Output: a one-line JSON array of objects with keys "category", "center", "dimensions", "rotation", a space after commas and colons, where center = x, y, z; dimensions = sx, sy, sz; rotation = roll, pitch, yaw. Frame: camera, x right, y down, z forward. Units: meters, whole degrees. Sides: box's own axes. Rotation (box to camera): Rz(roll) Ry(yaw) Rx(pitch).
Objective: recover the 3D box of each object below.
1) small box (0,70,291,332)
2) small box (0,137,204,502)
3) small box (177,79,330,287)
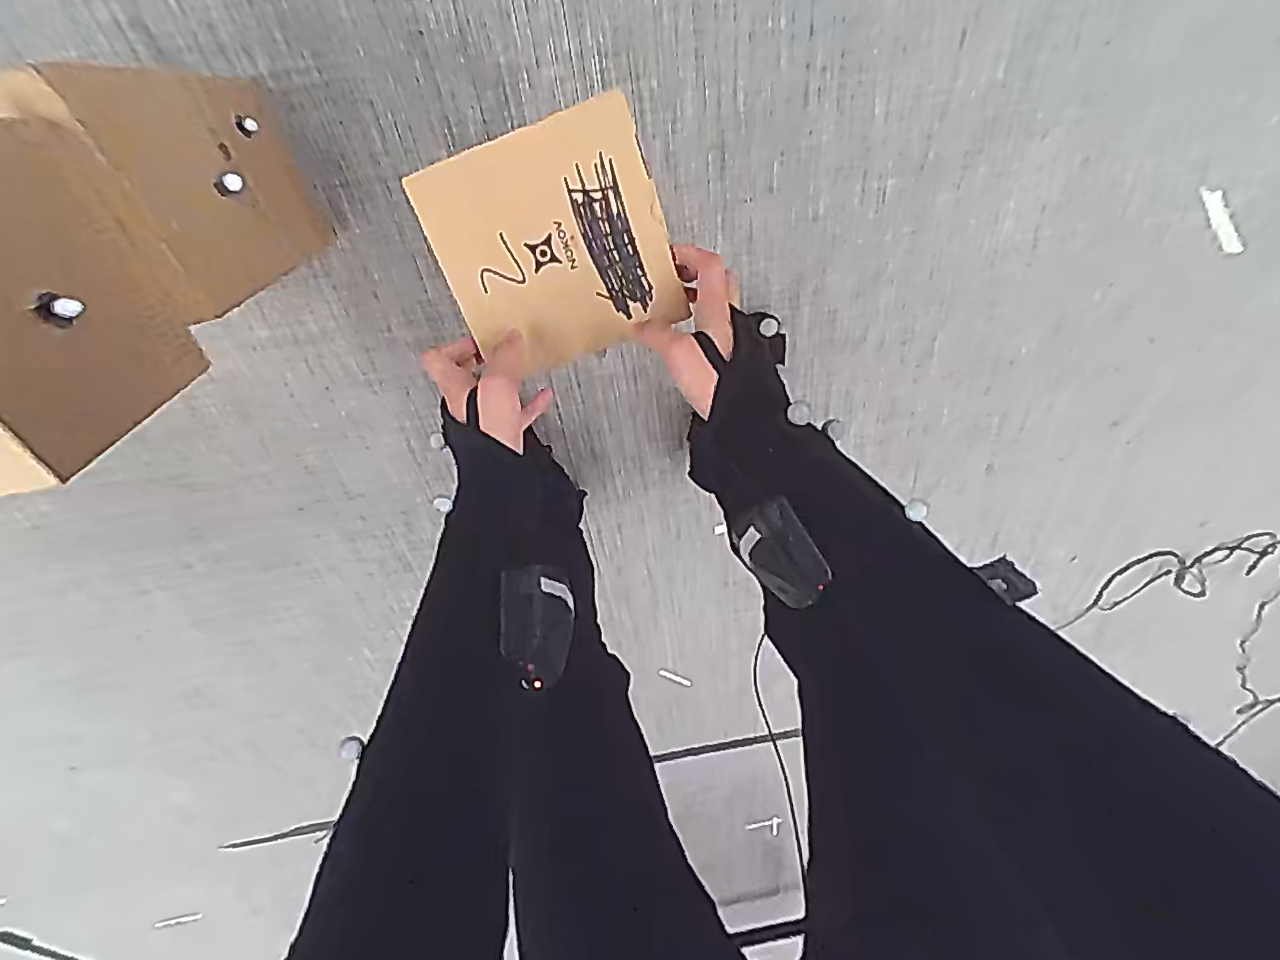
[{"category": "small box", "center": [-0.439, -0.212, 0.443], "dimensions": [0.179, 0.176, 0.168], "rotation": [-14, 127, 1]}, {"category": "small box", "center": [-0.430, -0.095, 0.325], "dimensions": [0.168, 0.176, 0.179], "rotation": [-10, 127, 0]}, {"category": "small box", "center": [-0.473, -0.303, 0.576], "dimensions": [0.168, 0.176, 0.179], "rotation": [-13, 127, 1]}]
